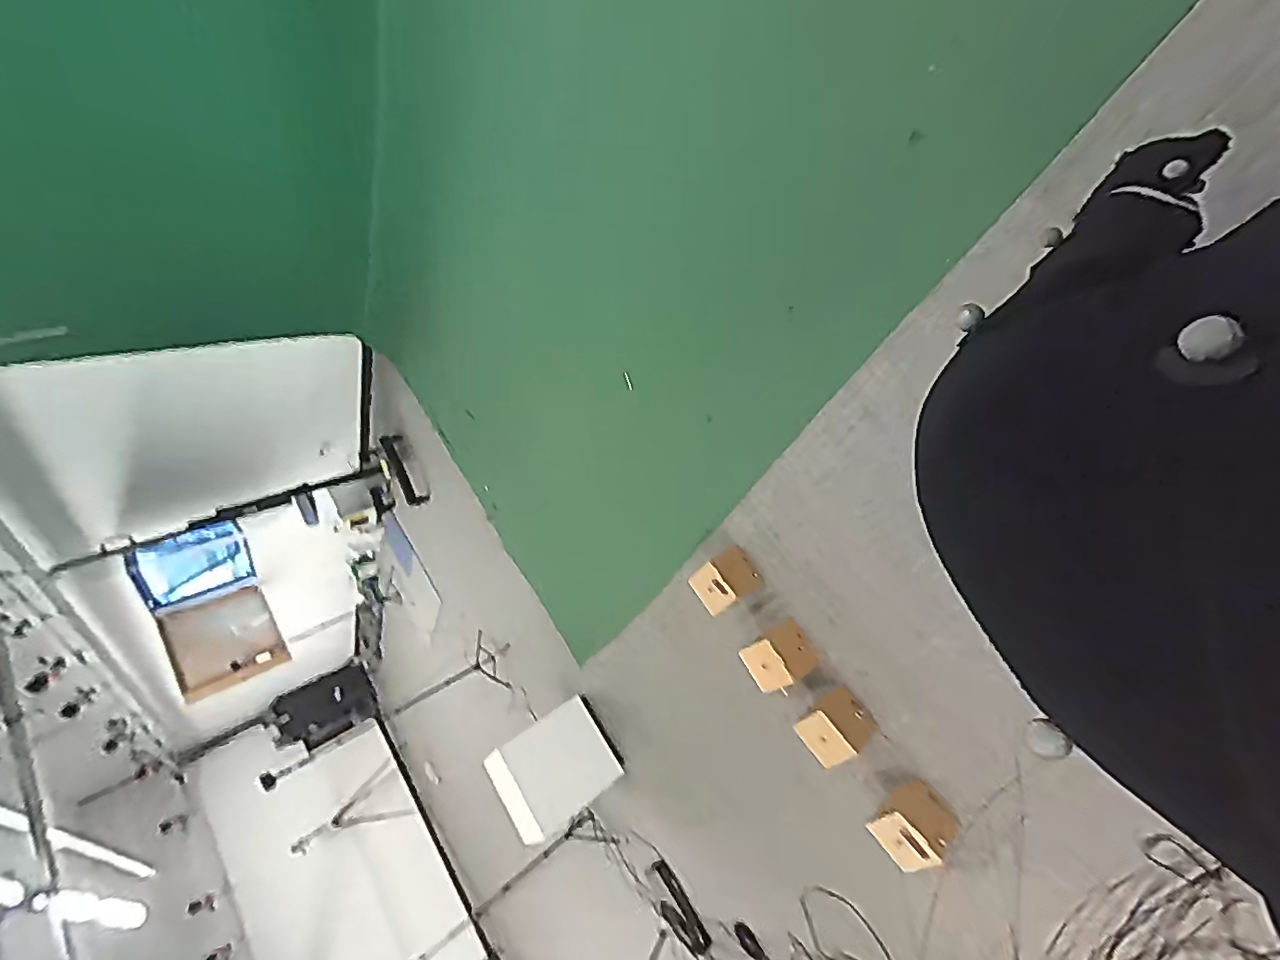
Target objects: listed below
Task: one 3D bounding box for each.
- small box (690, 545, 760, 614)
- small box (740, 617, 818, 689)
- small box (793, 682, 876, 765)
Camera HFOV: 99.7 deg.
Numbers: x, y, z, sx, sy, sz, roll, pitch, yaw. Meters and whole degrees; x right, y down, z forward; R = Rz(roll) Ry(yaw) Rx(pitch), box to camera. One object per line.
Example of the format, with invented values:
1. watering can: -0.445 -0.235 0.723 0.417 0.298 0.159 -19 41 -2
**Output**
1. small box: 0.326 0.370 2.038 0.168 0.176 0.179 54 139 18
2. small box: 0.502 0.622 1.950 0.168 0.176 0.179 57 139 14
3. small box: 0.670 0.830 1.850 0.168 0.176 0.179 49 135 20
